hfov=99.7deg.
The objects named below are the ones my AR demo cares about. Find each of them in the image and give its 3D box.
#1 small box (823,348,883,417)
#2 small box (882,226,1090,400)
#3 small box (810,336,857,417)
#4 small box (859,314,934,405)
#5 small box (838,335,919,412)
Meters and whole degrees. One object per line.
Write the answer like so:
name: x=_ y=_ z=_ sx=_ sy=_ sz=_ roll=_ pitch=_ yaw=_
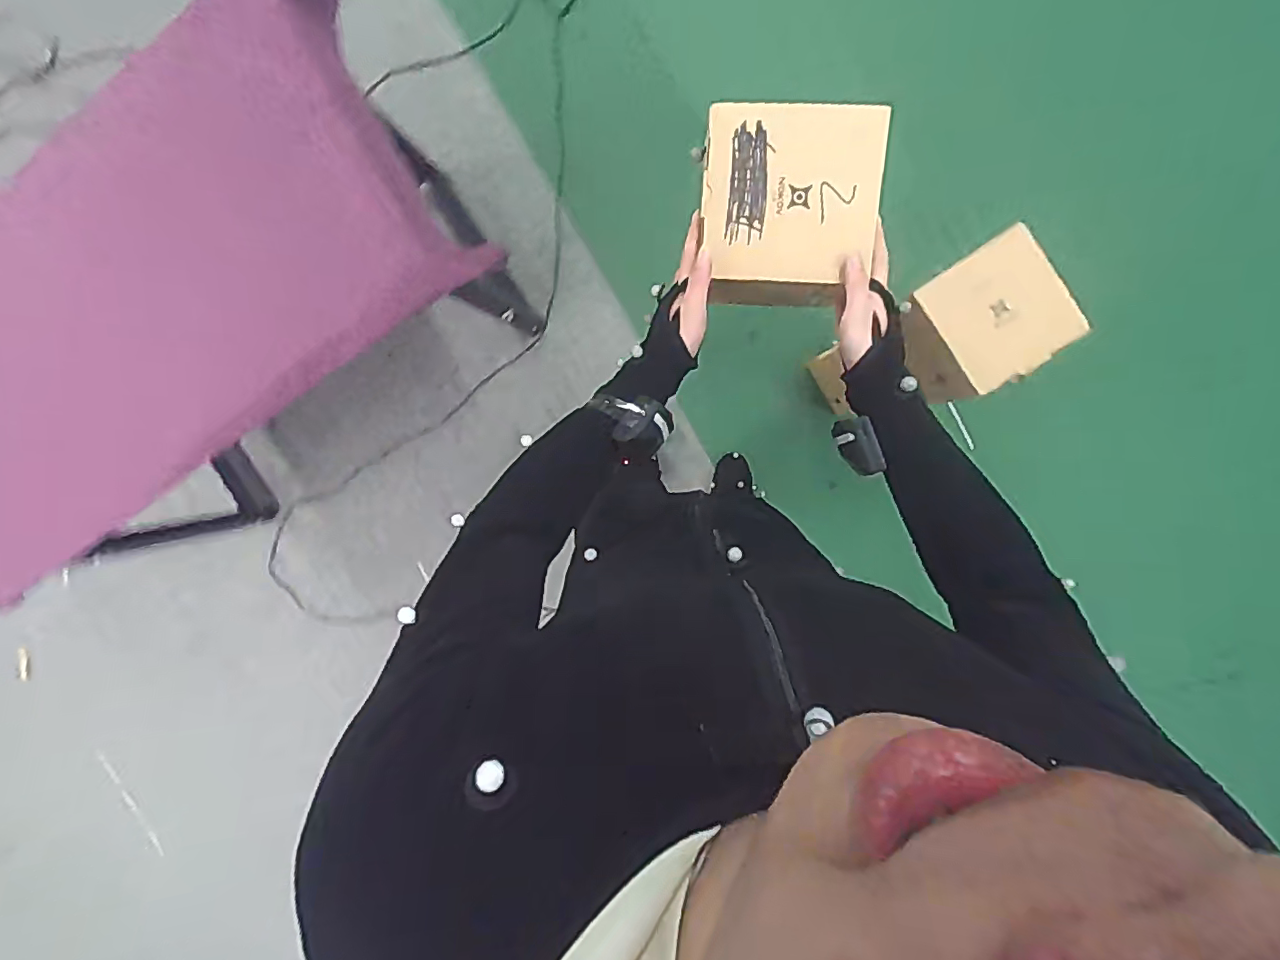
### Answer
small box: x=0.566 y=-0.266 z=1.295 sx=0.168 sy=0.176 sz=0.179 roll=-33 pitch=90 yaw=9
small box: x=0.500 y=-0.232 z=0.810 sx=0.168 sy=0.176 sz=0.179 roll=-32 pitch=89 yaw=8
small box: x=0.583 y=-0.285 z=1.456 sx=0.168 sy=0.176 sz=0.179 roll=-30 pitch=90 yaw=9
small box: x=0.518 y=-0.248 z=0.972 sx=0.179 sy=0.176 sz=0.168 roll=-32 pitch=90 yaw=10
small box: x=0.544 y=-0.255 z=1.133 sx=0.168 sy=0.176 sz=0.179 roll=-34 pitch=90 yaw=10
